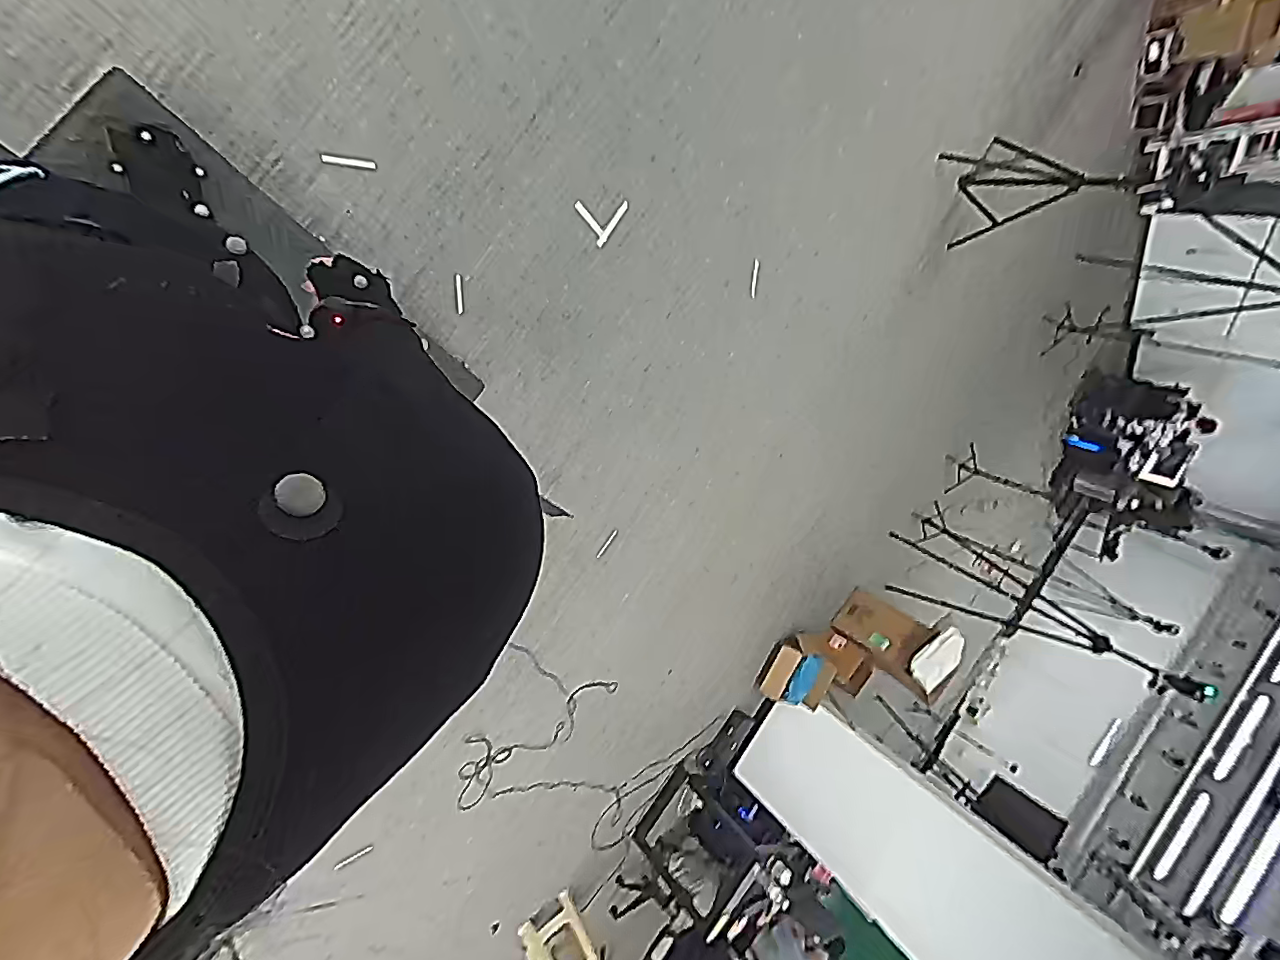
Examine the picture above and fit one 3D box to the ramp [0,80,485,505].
[{"bbox_3d":[-0.833,-0.307,1.310,0.509,0.206,0.991,-57,137,-5],"label":"ramp"}]
